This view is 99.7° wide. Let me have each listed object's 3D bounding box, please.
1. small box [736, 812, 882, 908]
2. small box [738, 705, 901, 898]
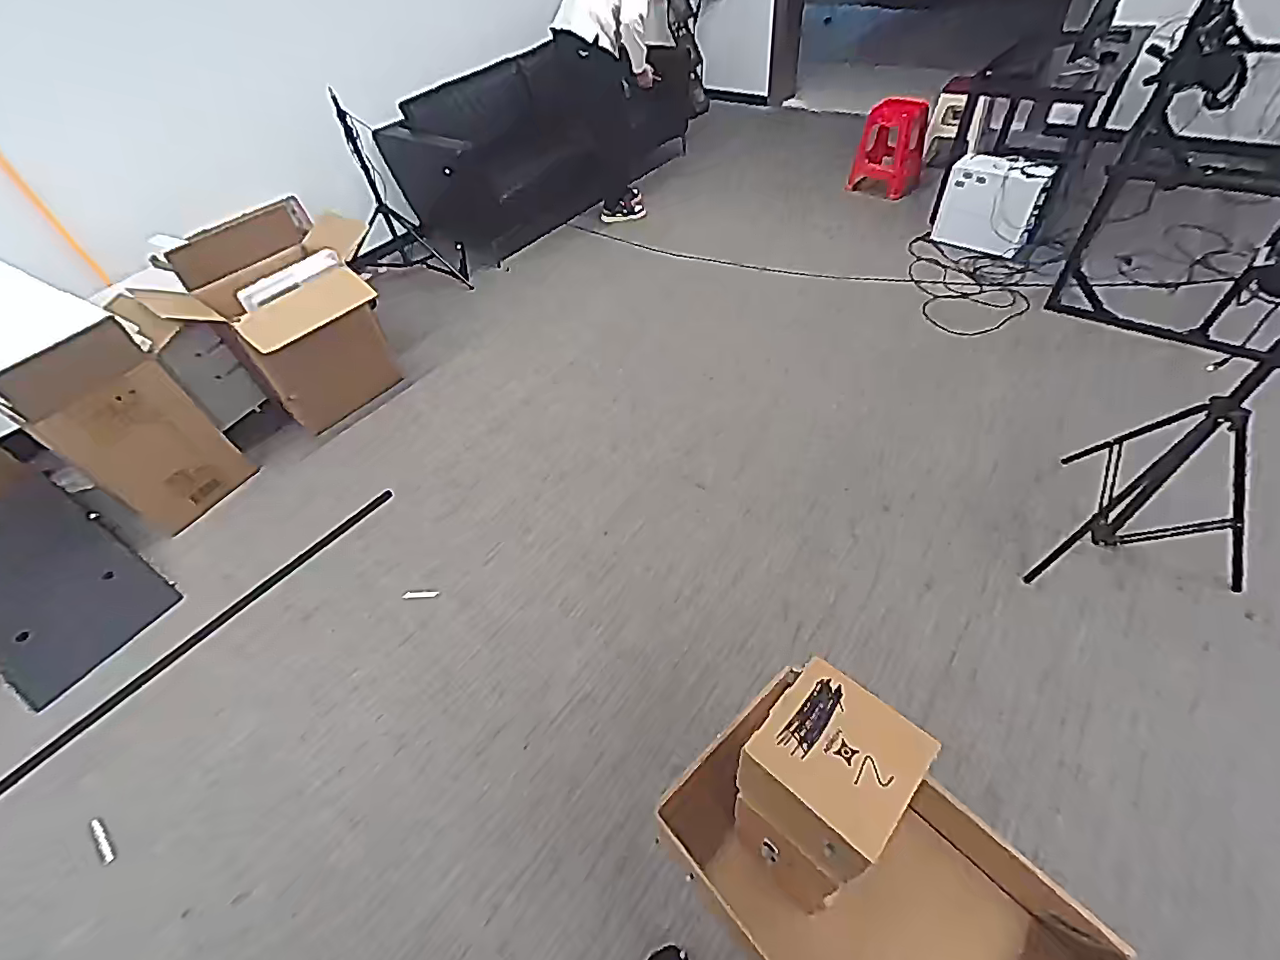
[{"bbox_3d":[0.283,0.607,0.946,0.168,0.176,0.179,-39,56,-25],"label":"small box"},{"bbox_3d":[0.263,0.493,0.830,0.168,0.176,0.179,32,58,31],"label":"small box"}]
